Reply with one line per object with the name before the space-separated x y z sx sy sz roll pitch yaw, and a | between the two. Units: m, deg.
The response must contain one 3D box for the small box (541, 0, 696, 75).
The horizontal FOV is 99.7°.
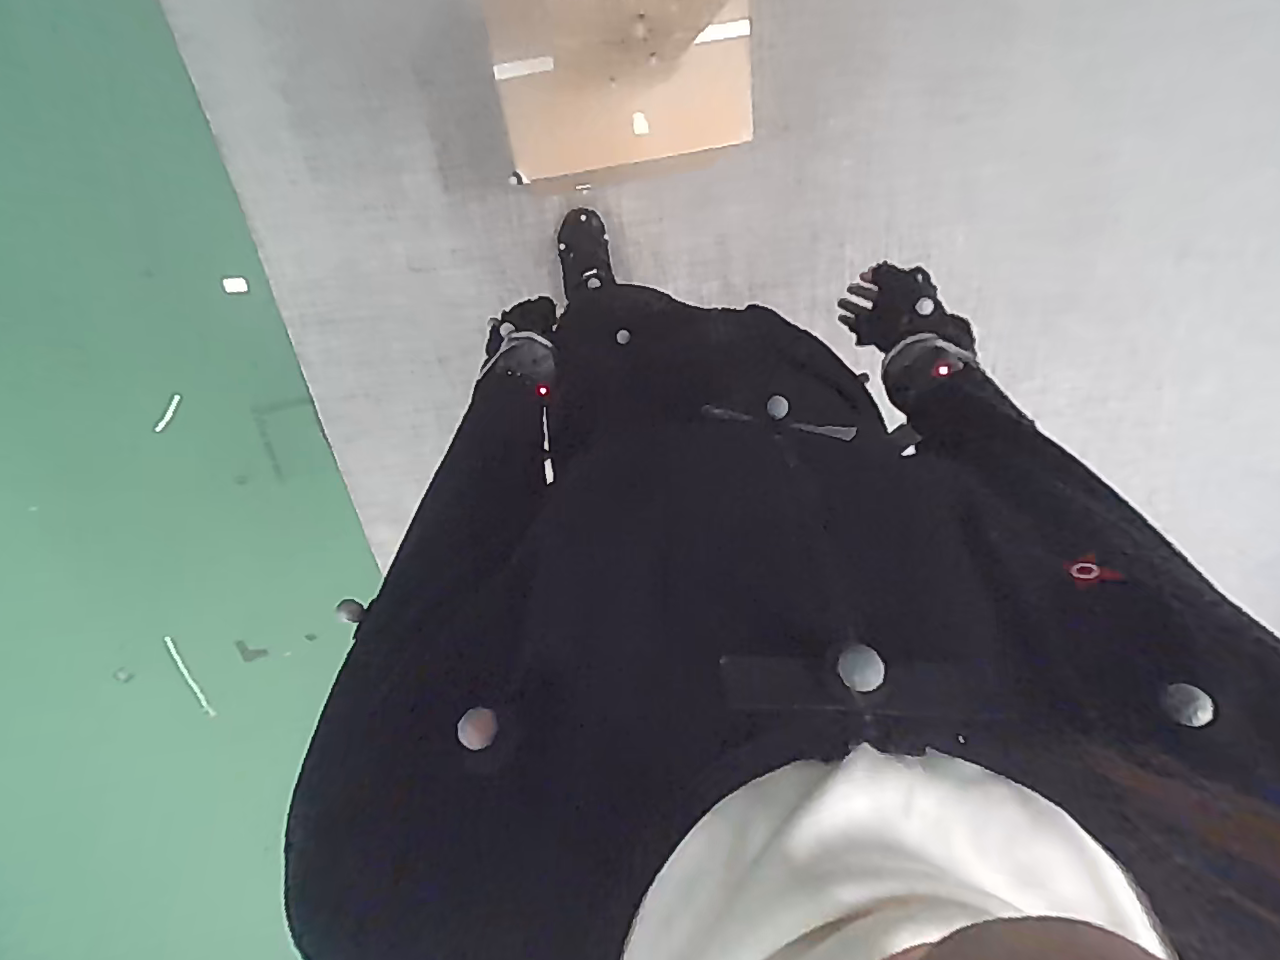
small box | -0.033 -0.584 0.617 0.168 0.176 0.179 -8 118 -3
